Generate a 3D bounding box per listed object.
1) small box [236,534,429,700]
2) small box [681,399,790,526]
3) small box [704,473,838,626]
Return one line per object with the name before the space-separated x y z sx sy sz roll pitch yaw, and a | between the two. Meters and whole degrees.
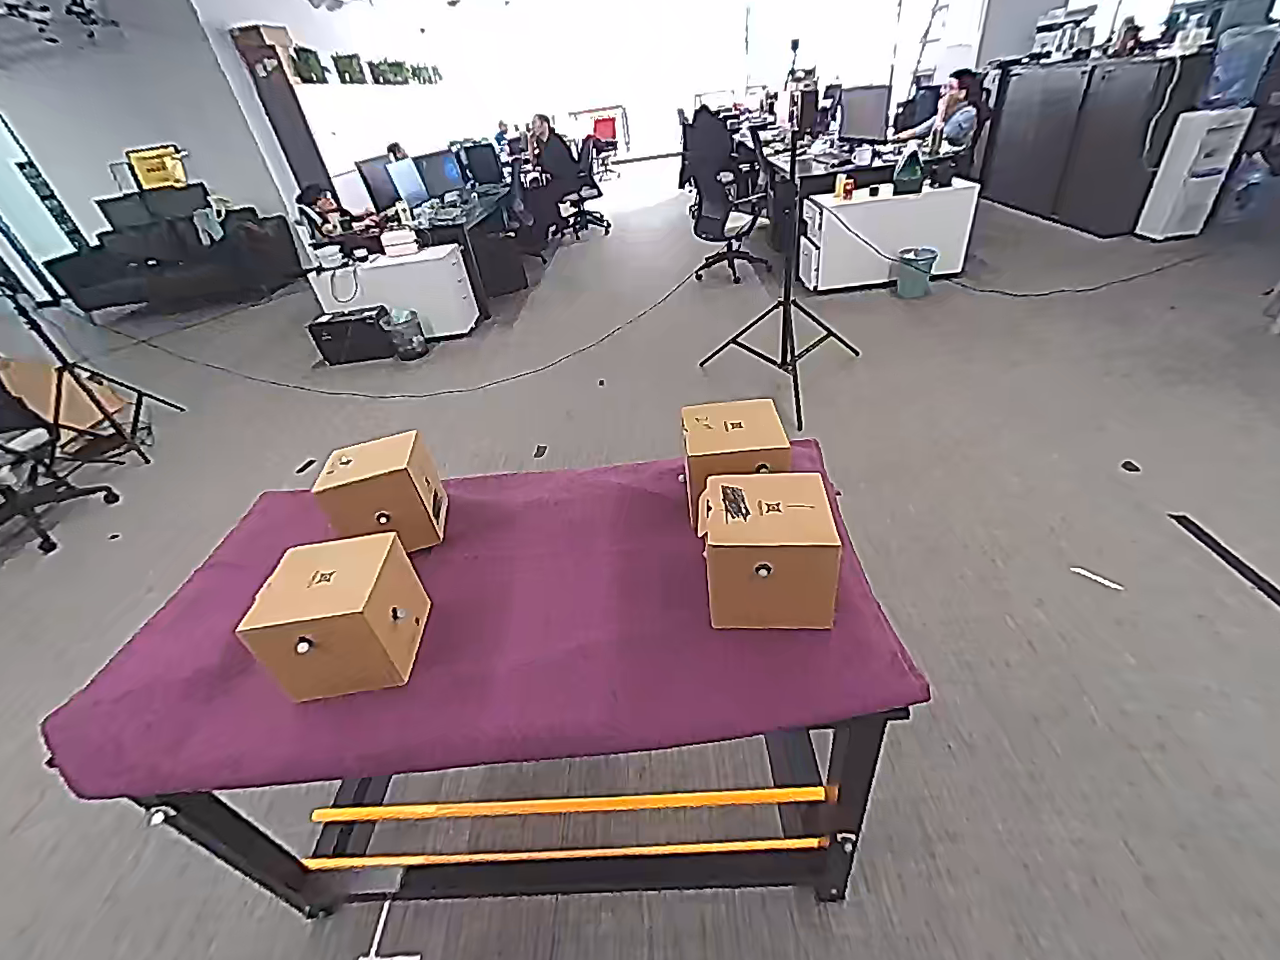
small box | -0.446 0.208 0.824 0.179 0.176 0.168 -9 35 0
small box | 0.172 -0.031 1.012 0.179 0.176 0.168 -6 37 4
small box | 0.192 0.106 0.821 0.179 0.176 0.168 -2 35 9
